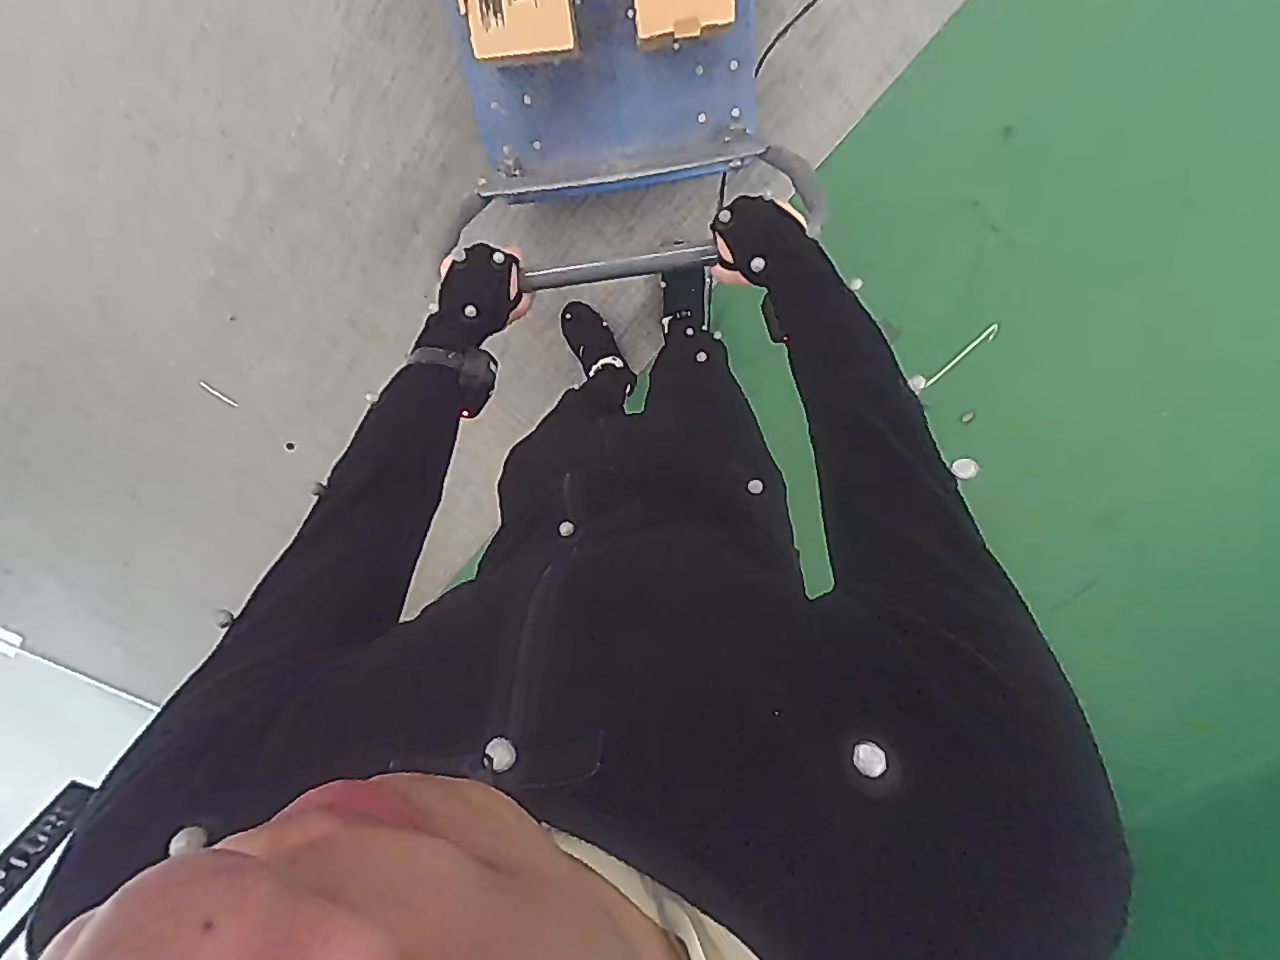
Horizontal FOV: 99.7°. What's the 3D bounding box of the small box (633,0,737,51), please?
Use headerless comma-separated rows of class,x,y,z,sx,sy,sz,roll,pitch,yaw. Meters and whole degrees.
small box,0.070,-0.873,0.937,0.168,0.176,0.179,-7,124,3
